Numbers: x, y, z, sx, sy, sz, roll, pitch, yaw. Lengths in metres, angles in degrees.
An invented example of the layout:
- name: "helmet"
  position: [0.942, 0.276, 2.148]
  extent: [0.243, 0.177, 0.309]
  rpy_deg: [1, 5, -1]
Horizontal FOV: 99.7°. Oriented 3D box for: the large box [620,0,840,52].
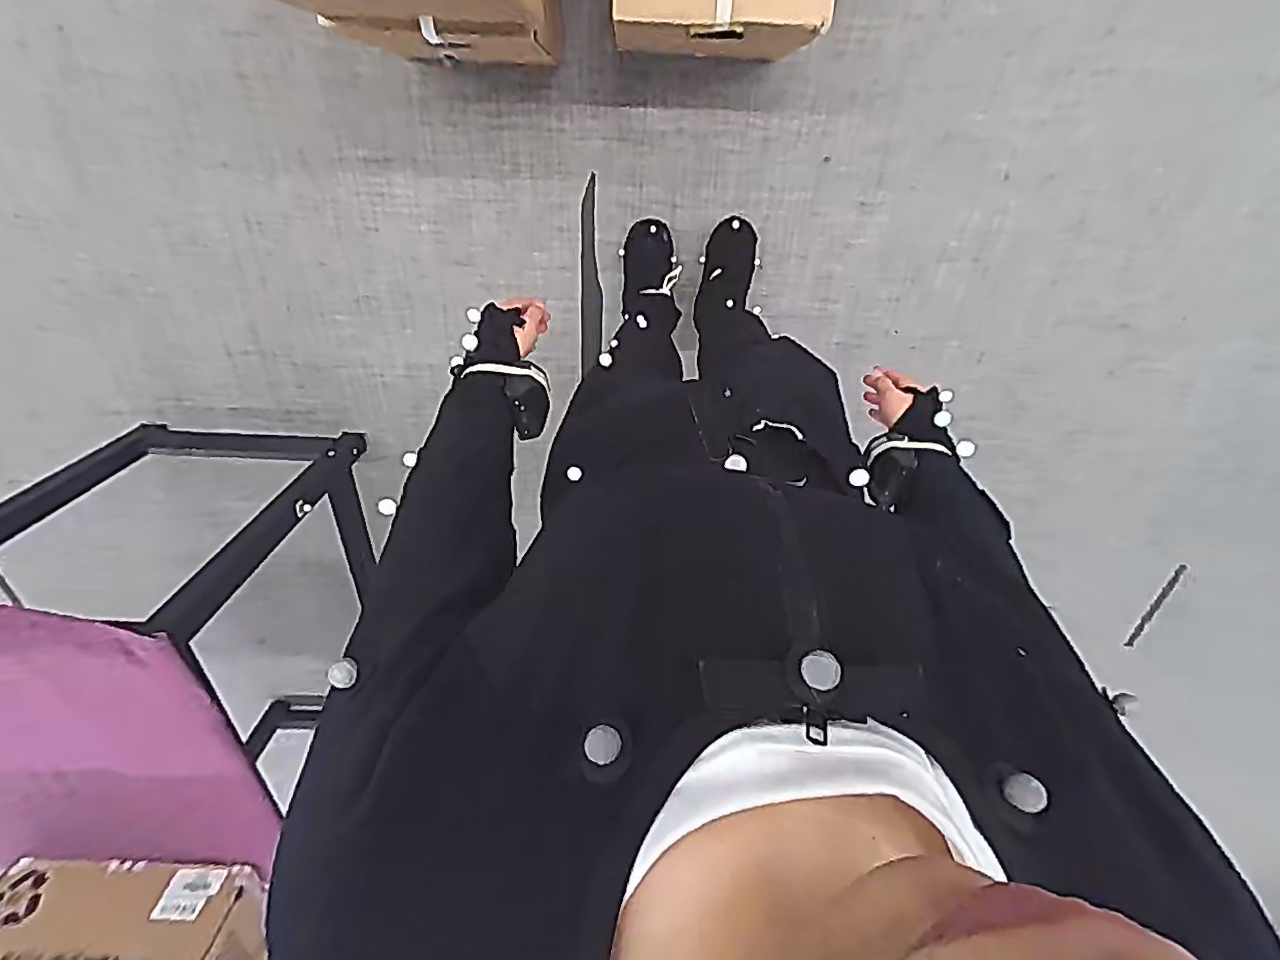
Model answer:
- name: "large box"
  position: [0.125, -0.895, 0.781]
  extent: [0.320, 0.320, 0.408]
  rpy_deg: [1, 122, 0]
